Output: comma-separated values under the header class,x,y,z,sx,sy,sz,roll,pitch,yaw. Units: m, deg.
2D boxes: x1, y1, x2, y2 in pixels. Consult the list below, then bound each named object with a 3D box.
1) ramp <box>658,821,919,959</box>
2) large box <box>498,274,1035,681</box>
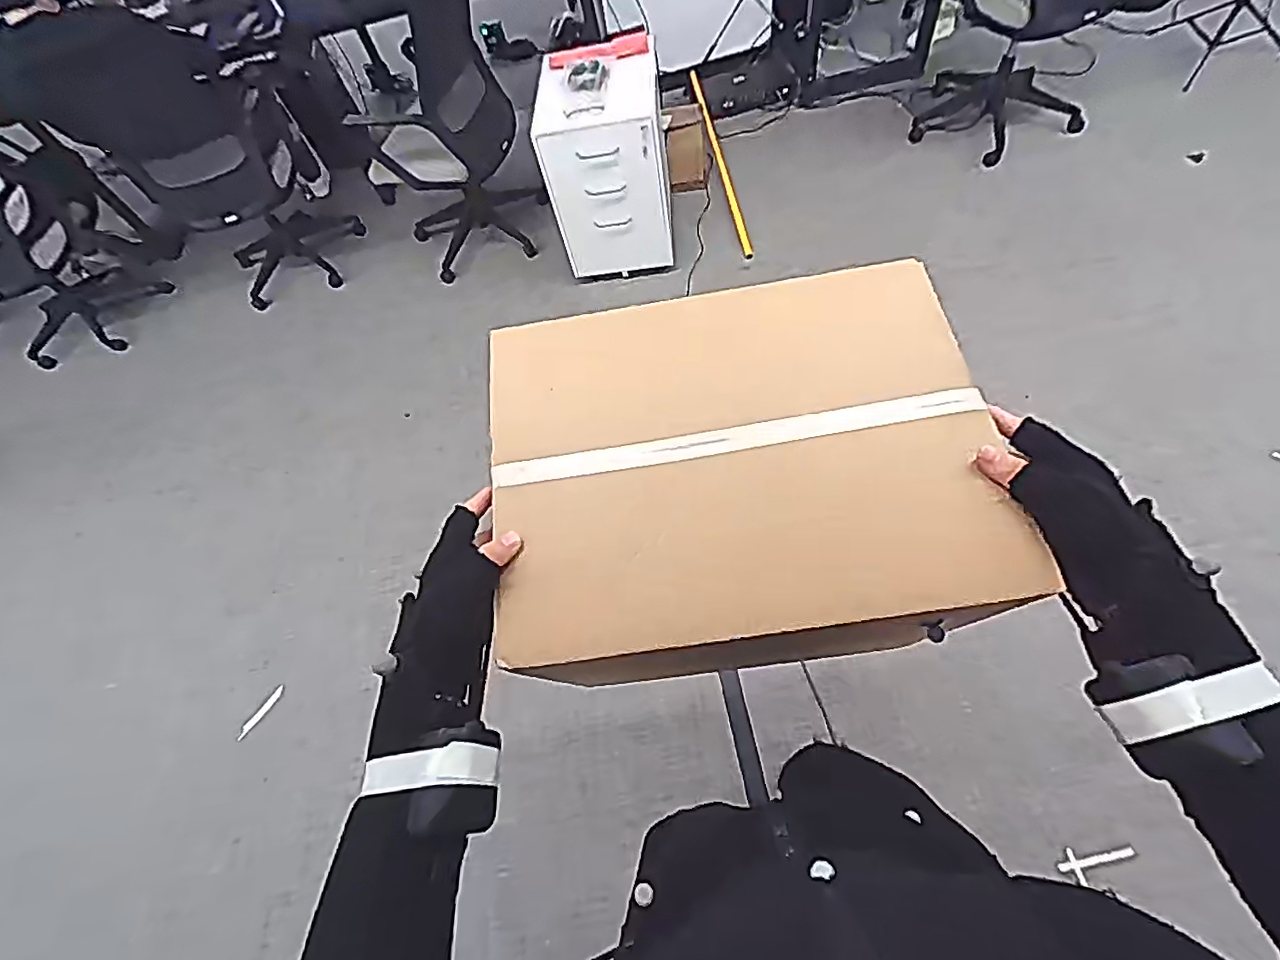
class,x,y,z,sx,sy,sz,roll,pitch,yaw
ramp,0.343,1.180,0.889,0.509,0.206,0.991,-14,59,2
large box,0.092,0.030,0.595,0.408,0.320,0.320,-8,66,3
